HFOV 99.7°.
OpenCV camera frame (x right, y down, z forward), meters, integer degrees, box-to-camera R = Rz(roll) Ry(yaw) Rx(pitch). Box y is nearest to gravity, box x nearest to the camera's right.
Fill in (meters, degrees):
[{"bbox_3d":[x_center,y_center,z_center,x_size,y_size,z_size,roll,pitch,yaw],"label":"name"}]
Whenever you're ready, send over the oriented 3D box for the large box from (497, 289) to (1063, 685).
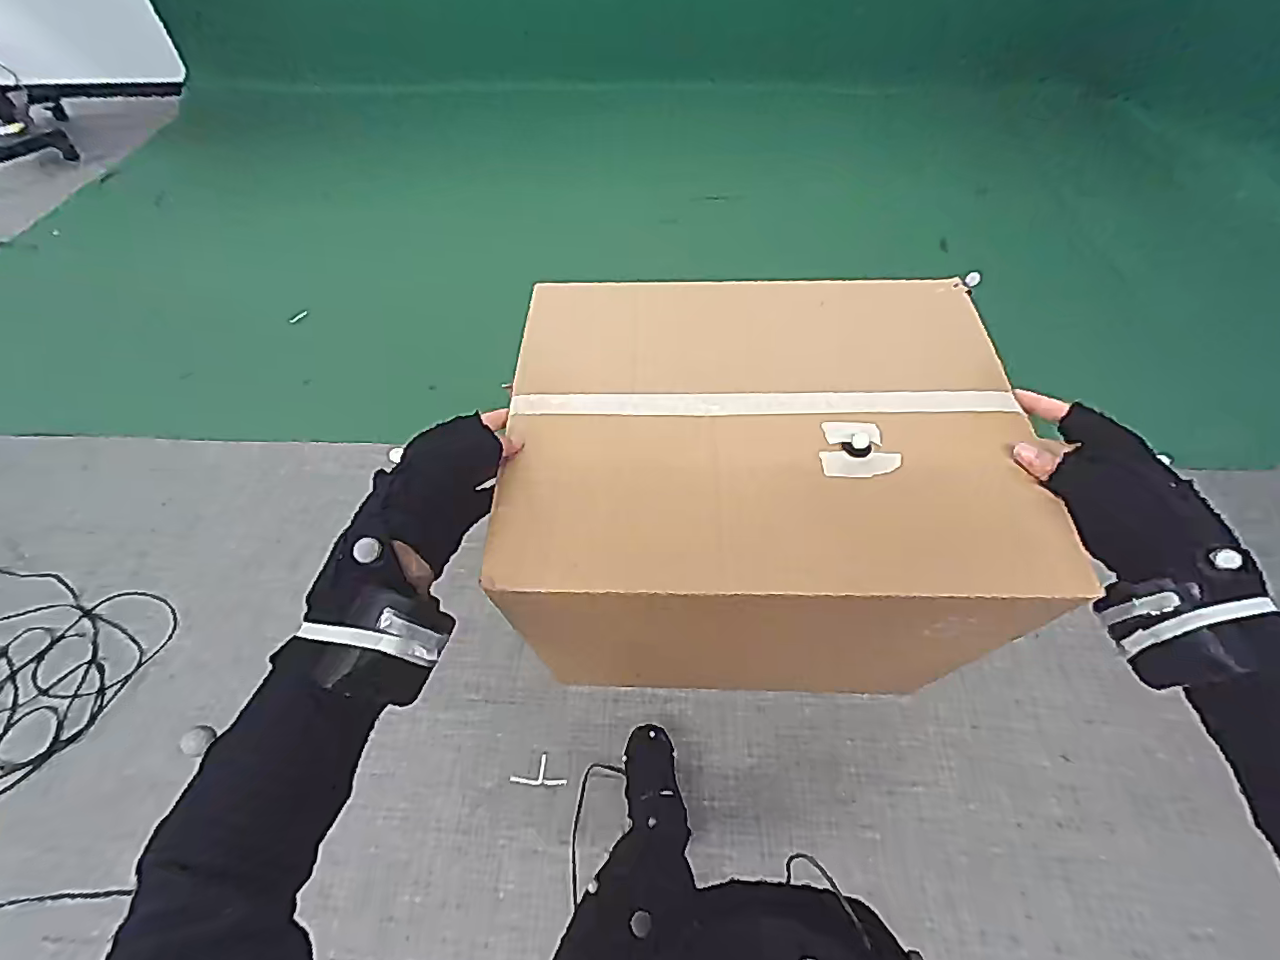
[{"bbox_3d":[0.099,0.025,0.580,0.408,0.320,0.320,-1,58,2],"label":"large box"}]
